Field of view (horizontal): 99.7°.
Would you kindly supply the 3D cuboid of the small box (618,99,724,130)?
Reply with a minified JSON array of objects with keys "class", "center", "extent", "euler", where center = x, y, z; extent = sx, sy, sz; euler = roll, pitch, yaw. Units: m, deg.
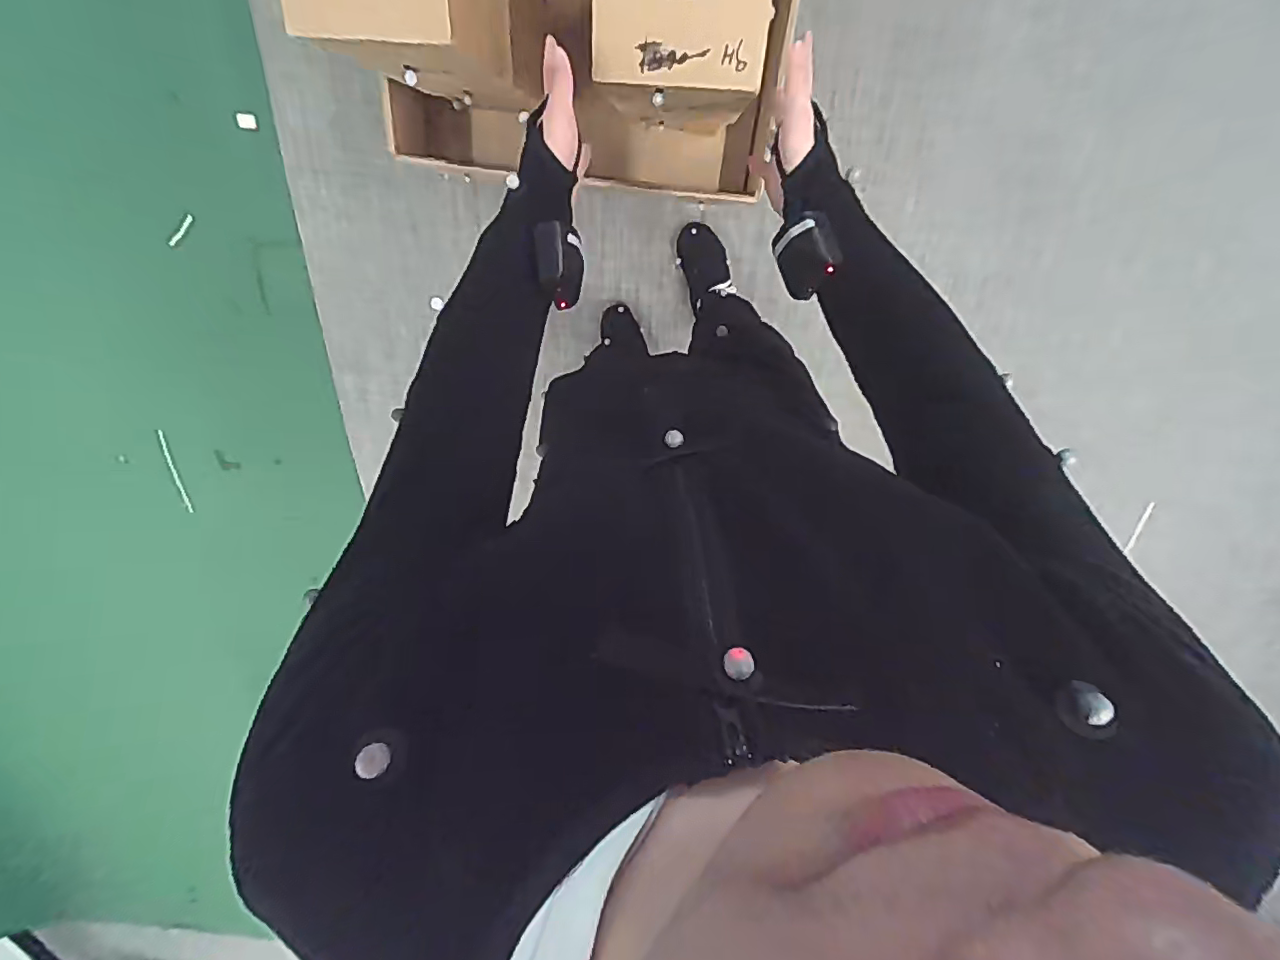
[{"class":"small box","center":[0.059,-0.659,0.829],"extent":[0.168,0.176,0.179],"euler":[8,118,-1]}]

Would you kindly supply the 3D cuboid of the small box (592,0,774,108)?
[{"class":"small box","center":[0.045,-0.497,0.545],"extent":[0.168,0.176,0.179],"euler":[5,119,1]}]

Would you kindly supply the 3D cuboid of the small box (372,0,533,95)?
[{"class":"small box","center":[-0.237,-0.616,0.686],"extent":[0.168,0.176,0.179],"euler":[5,118,2]}]

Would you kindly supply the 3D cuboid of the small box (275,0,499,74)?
[{"class":"small box","center":[-0.247,-0.539,0.542],"extent":[0.168,0.176,0.179],"euler":[6,117,2]}]

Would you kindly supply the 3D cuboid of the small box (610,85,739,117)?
[{"class":"small box","center":[0.056,-0.577,0.687],"extent":[0.168,0.176,0.179],"euler":[5,118,1]}]
